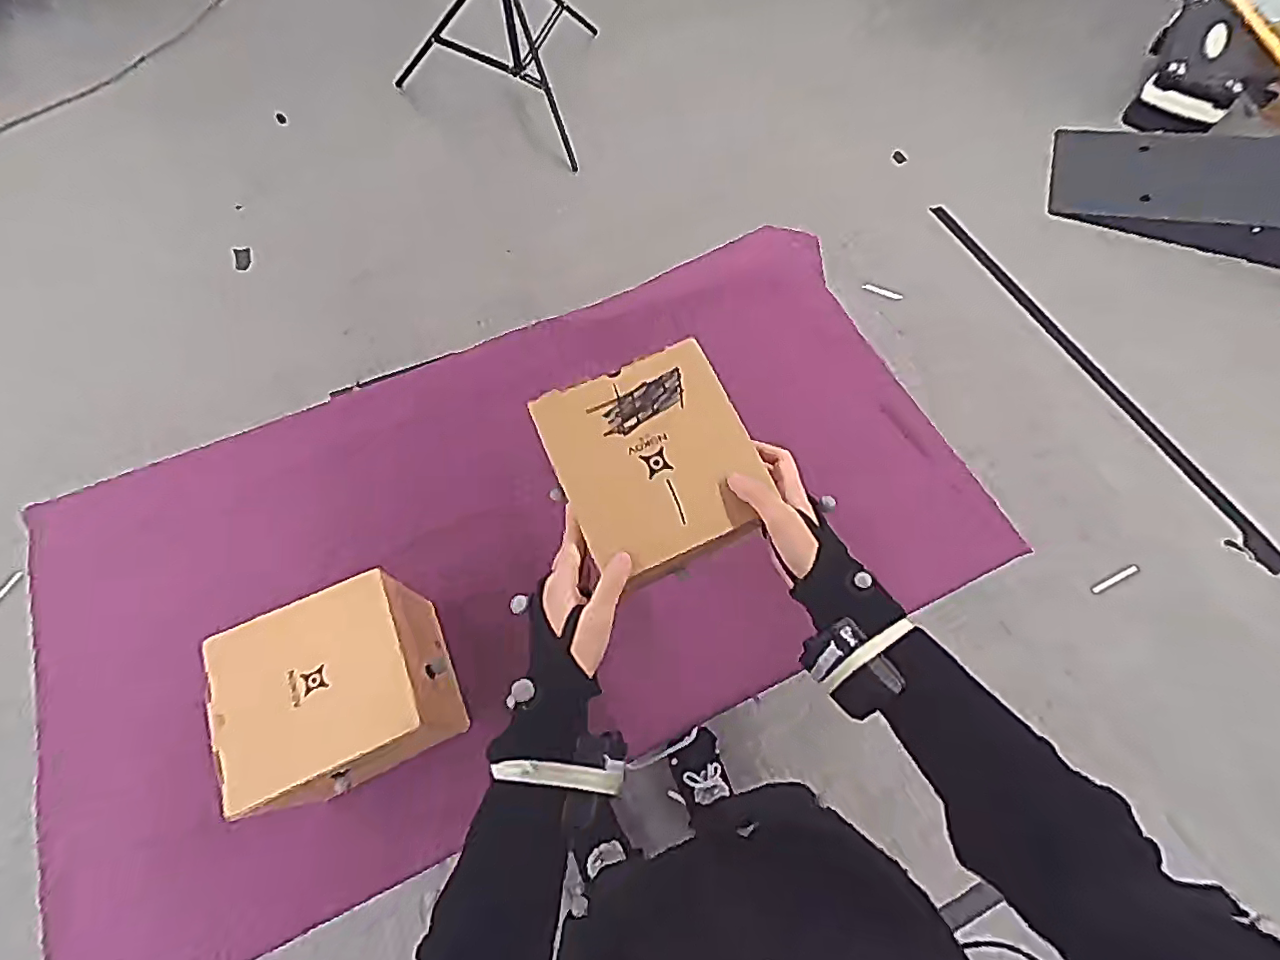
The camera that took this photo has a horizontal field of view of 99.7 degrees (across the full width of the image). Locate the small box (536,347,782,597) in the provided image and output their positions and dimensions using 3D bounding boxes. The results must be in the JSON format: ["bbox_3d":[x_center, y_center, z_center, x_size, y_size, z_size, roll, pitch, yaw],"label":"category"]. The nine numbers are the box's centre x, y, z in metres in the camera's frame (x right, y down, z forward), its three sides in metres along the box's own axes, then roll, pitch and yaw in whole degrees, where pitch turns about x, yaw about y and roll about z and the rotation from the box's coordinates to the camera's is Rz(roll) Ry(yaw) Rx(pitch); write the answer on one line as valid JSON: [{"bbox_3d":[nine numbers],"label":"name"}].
[{"bbox_3d":[0.011,0.003,0.545,0.168,0.176,0.179,-24,76,-8],"label":"small box"}]

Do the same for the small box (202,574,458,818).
[{"bbox_3d":[-0.313,0.225,0.583,0.179,0.176,0.168,-23,68,-10],"label":"small box"}]
